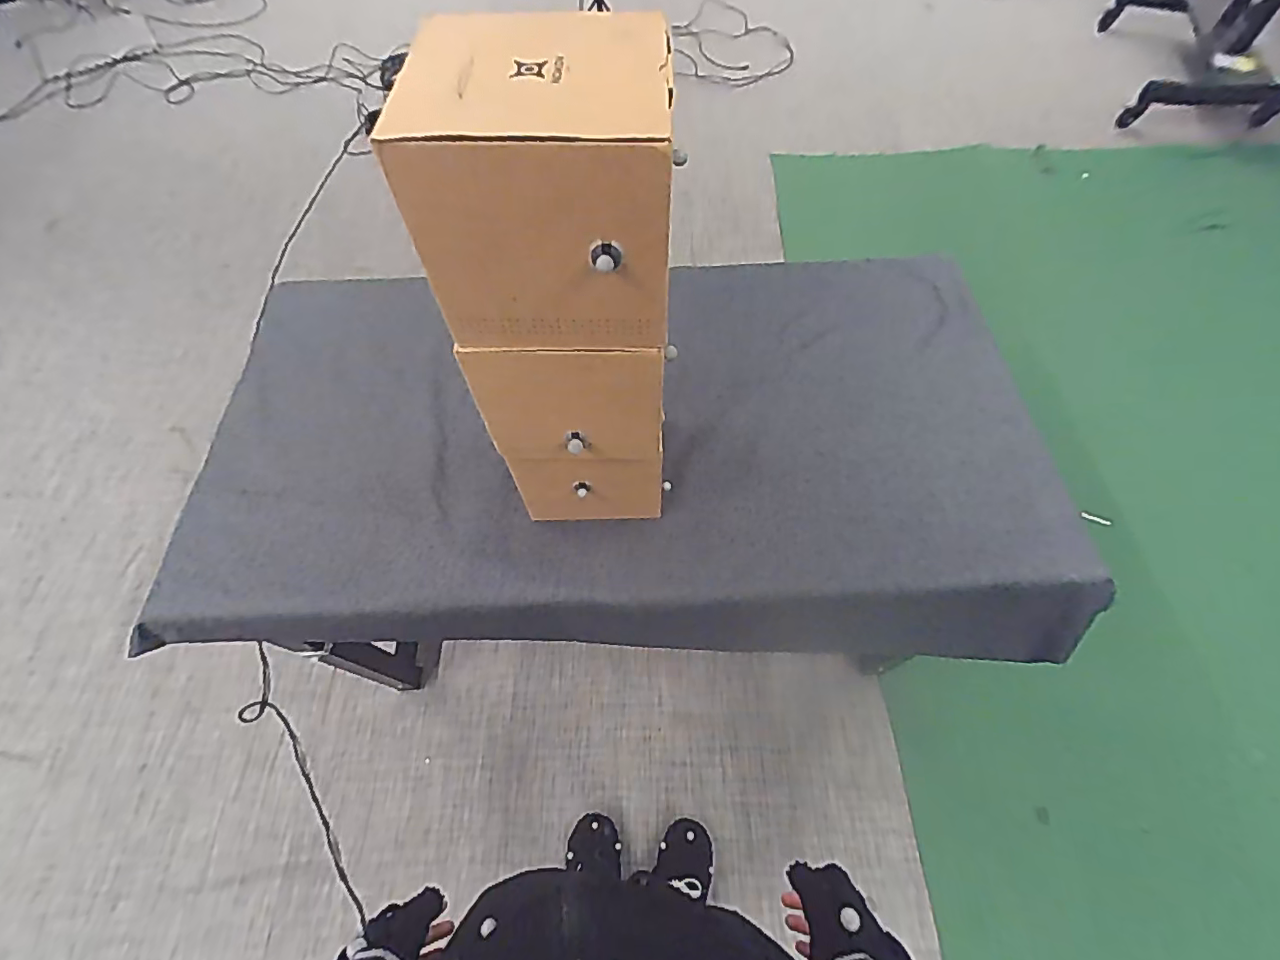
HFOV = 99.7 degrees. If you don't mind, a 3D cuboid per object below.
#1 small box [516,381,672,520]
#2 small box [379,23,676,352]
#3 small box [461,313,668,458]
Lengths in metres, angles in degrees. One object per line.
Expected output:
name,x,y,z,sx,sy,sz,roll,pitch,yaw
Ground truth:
small box,-0.057,-0.058,0.707,0.179,0.176,0.168,-4,61,-2
small box,-0.065,-0.216,0.423,0.179,0.176,0.168,-1,59,2
small box,-0.064,-0.133,0.563,0.179,0.176,0.168,0,60,1
